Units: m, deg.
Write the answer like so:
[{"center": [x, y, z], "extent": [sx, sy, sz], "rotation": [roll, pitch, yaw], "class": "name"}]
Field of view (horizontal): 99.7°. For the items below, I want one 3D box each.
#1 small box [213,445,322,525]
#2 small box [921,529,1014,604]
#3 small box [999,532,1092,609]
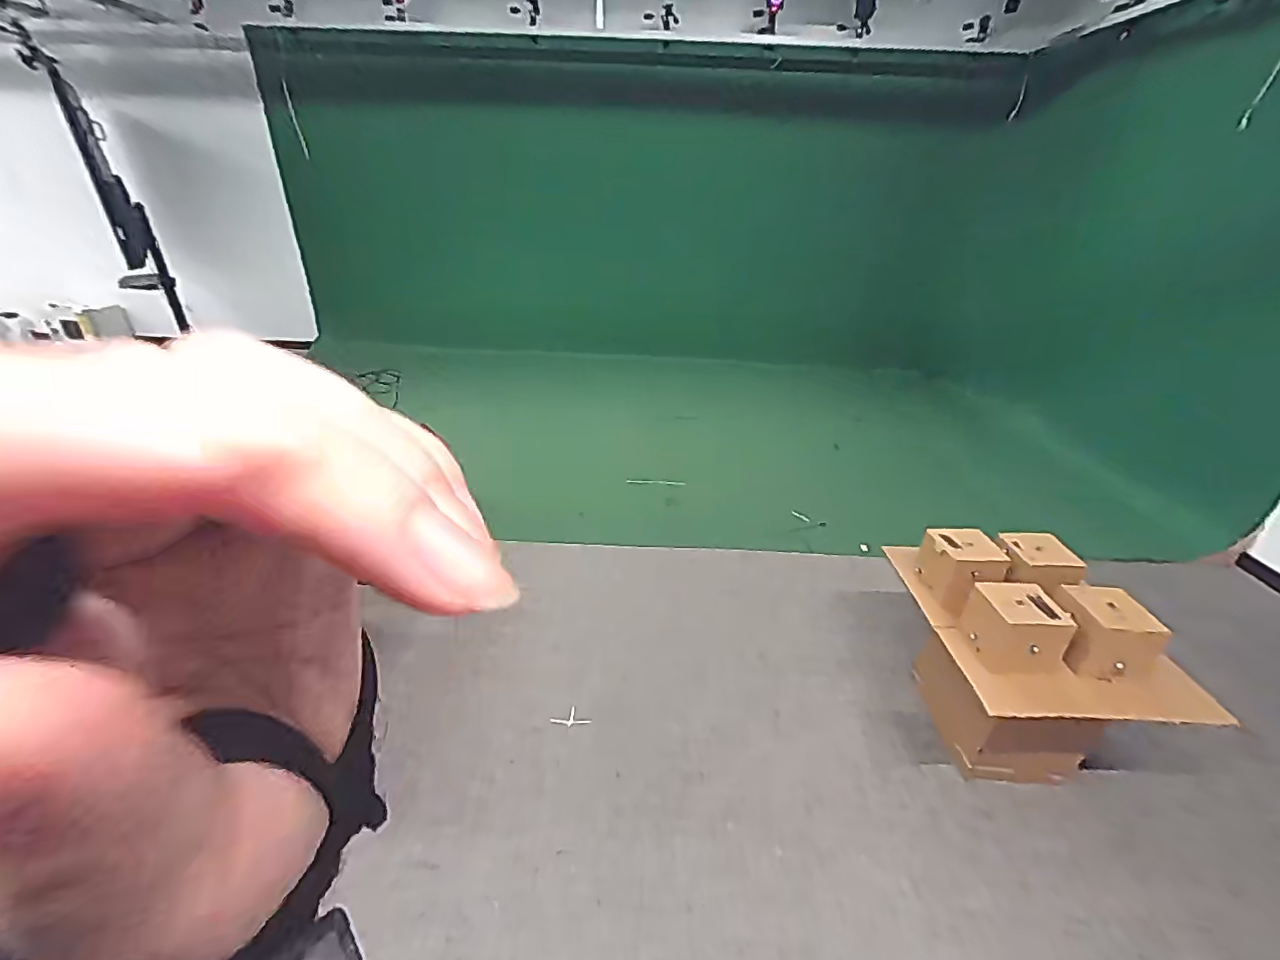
[{"center": [-1.031, 0.014, 1.517], "extent": [0.168, 0.176, 0.179], "rotation": [3, 28, 3], "class": "small box"}, {"center": [0.993, 0.267, 1.664], "extent": [0.179, 0.176, 0.168], "rotation": [0, 28, -4], "class": "small box"}, {"center": [1.208, 0.277, 1.652], "extent": [0.179, 0.176, 0.168], "rotation": [2, 27, -1], "class": "small box"}]
